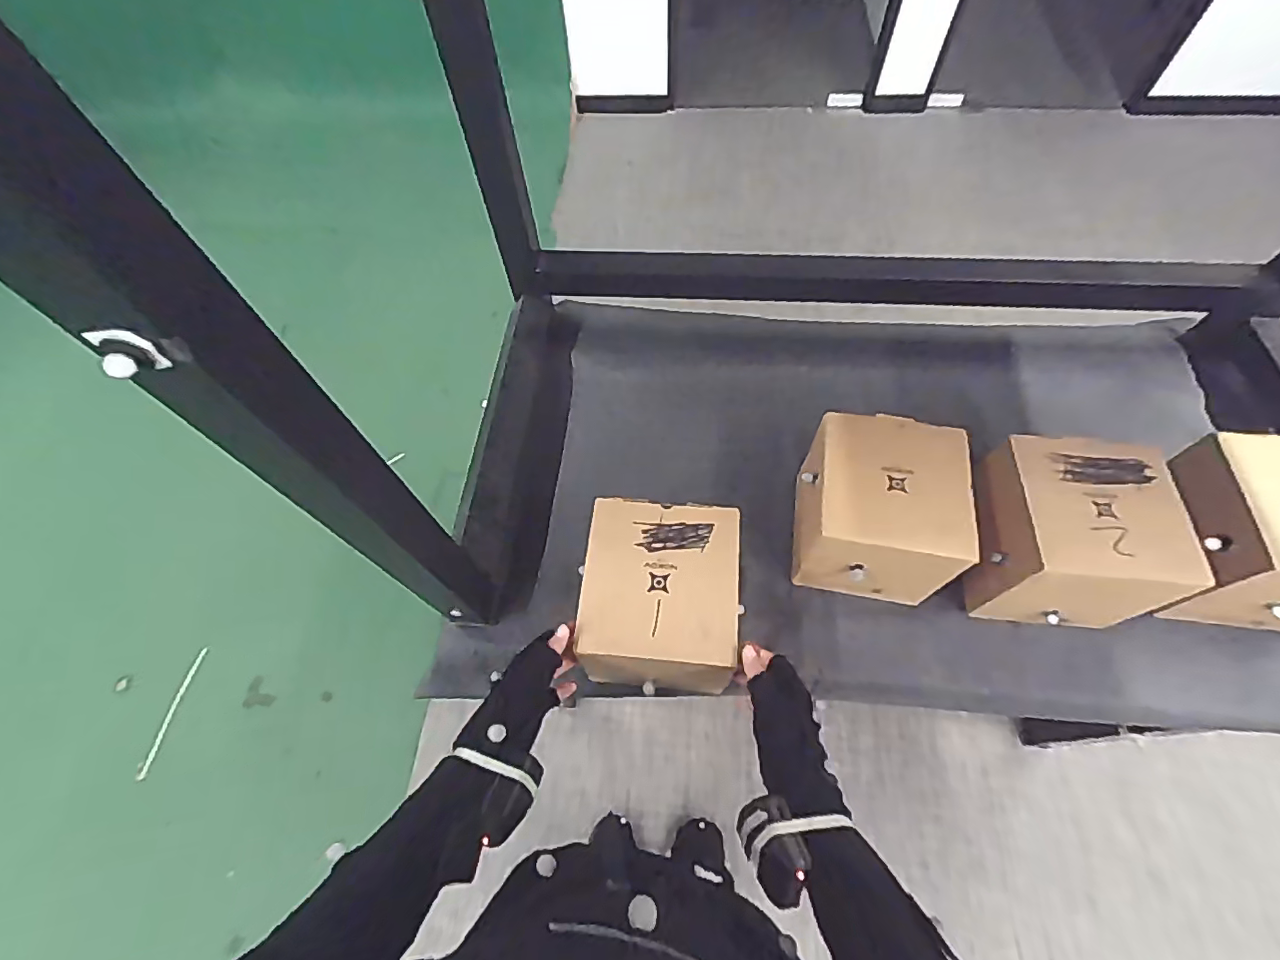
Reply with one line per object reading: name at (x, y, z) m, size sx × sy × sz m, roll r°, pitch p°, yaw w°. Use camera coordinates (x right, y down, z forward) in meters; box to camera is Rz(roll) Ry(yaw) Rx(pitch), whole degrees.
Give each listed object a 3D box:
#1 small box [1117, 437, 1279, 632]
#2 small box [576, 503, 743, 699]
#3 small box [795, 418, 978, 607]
small box at (0.738, 0.071, 0.650) m, size 0.168 × 0.176 × 0.179 m, roll 6°, pitch 60°, yaw 6°
small box at (0.028, 0.147, 0.641) m, size 0.168 × 0.176 × 0.179 m, roll 4°, pitch 60°, yaw 5°
small box at (0.300, 0.048, 0.691) m, size 0.168 × 0.176 × 0.179 m, roll 8°, pitch 60°, yaw 8°
